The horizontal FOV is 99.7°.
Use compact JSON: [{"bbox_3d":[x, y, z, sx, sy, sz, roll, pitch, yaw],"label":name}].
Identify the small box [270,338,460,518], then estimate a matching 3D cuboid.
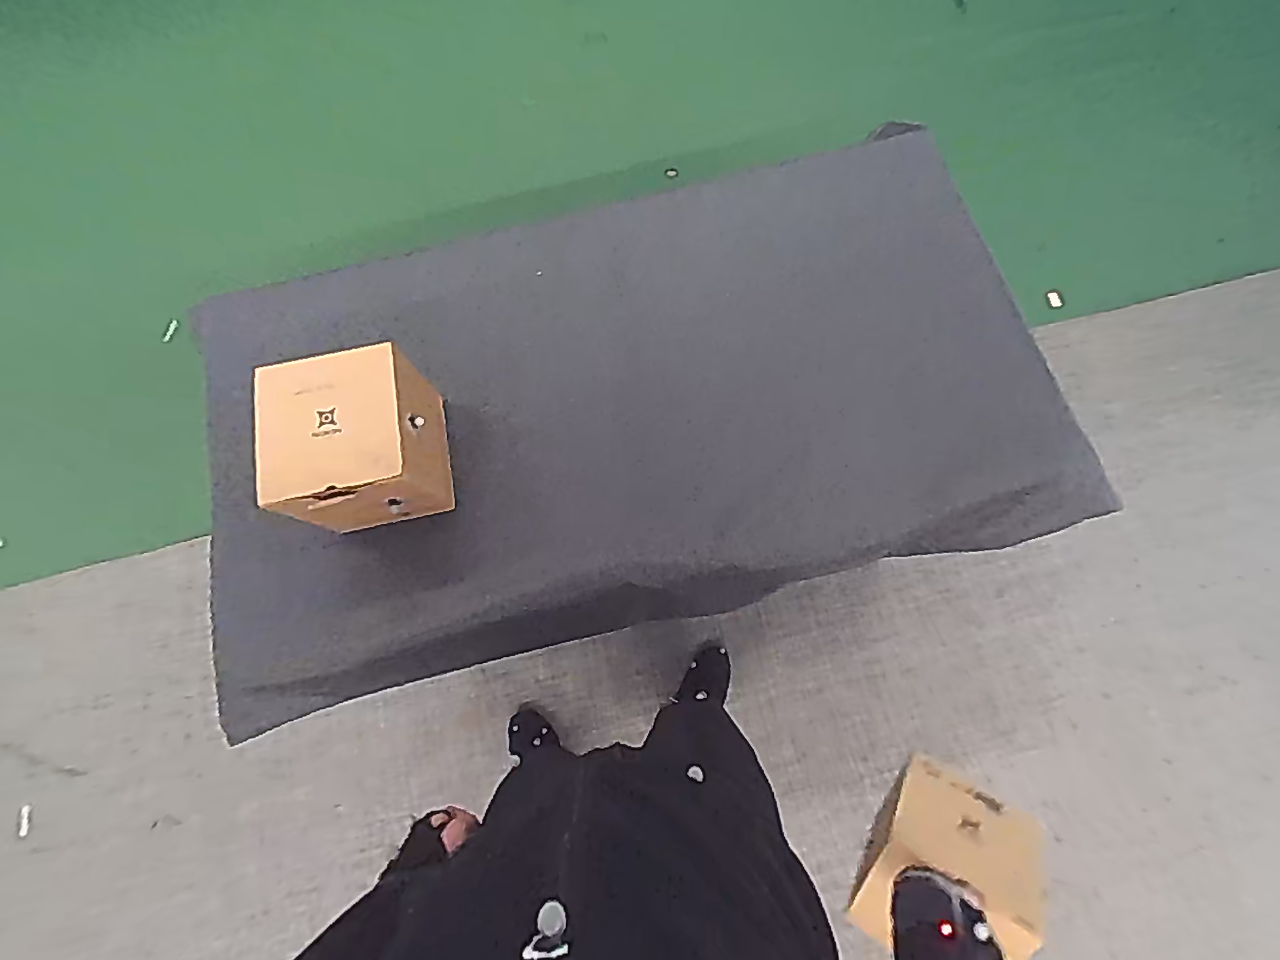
[{"bbox_3d":[-0.348,-0.055,0.709,0.168,0.176,0.179,-11,73,-3],"label":"small box"}]
